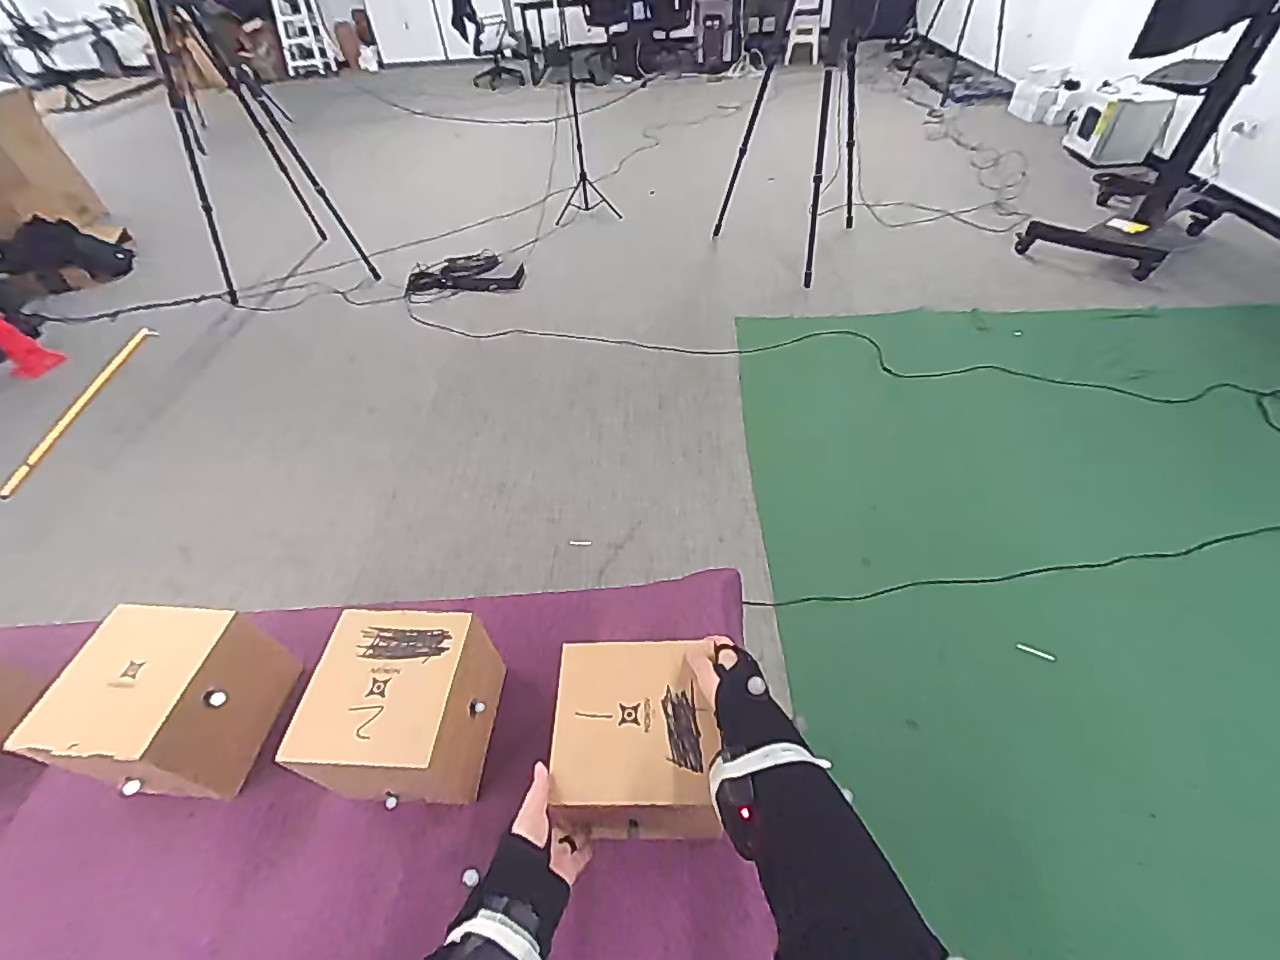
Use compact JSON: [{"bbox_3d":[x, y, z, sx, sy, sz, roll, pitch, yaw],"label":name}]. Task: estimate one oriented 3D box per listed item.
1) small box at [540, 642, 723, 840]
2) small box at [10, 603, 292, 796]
[{"bbox_3d":[-0.002,0.300,0.620,0.179,0.176,0.168,-3,47,4],"label":"small box"},{"bbox_3d":[-0.589,0.279,0.689,0.168,0.176,0.179,2,48,6],"label":"small box"}]
